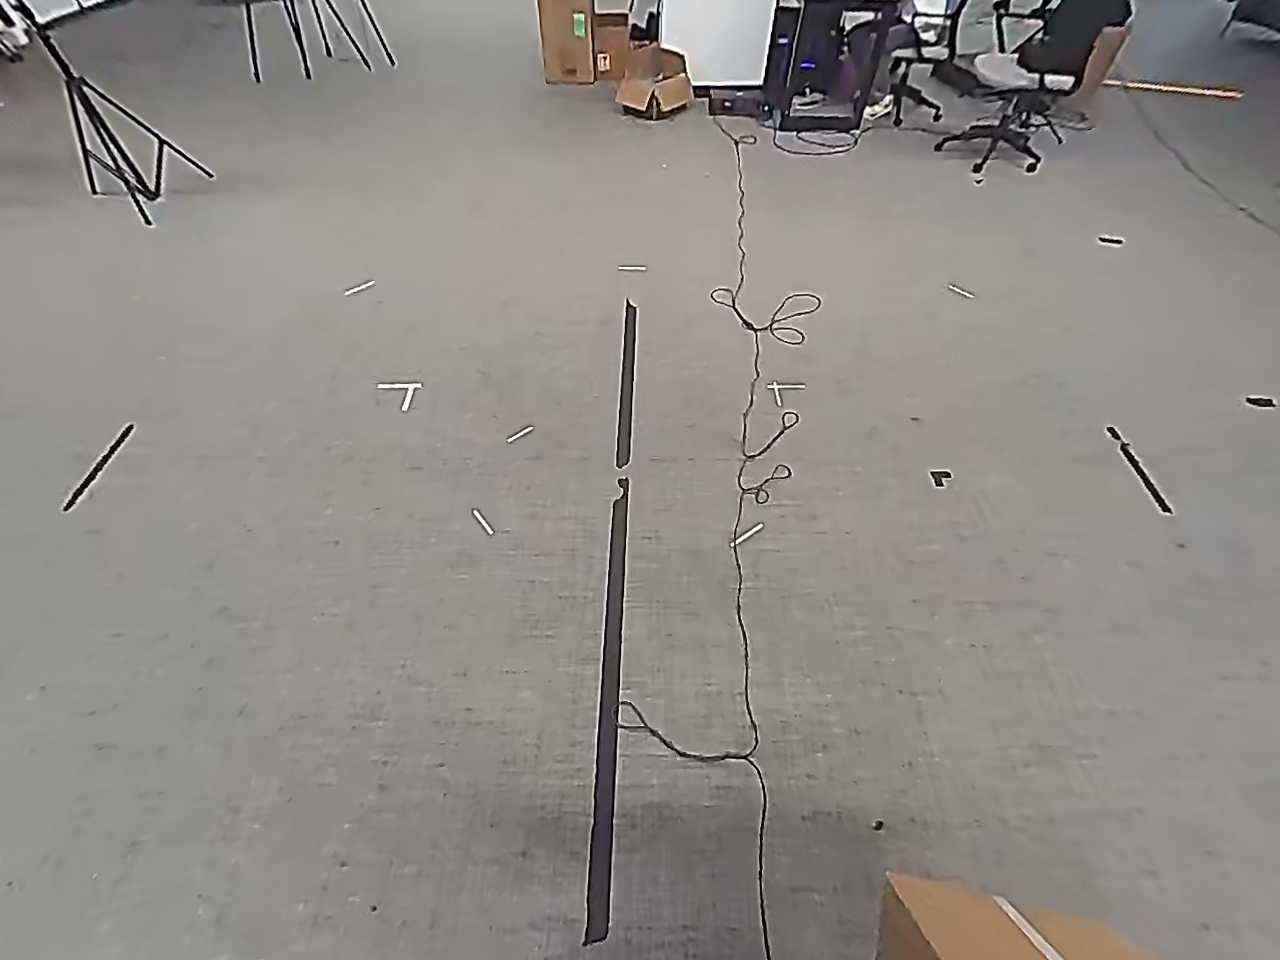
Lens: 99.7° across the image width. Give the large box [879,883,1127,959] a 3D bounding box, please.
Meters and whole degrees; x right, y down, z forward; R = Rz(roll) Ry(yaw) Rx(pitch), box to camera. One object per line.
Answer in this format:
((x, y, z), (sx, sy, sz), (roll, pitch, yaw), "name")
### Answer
((0.465, 0.735, 0.565), (0.320, 0.408, 0.320), (10, 81, 7), "large box")
